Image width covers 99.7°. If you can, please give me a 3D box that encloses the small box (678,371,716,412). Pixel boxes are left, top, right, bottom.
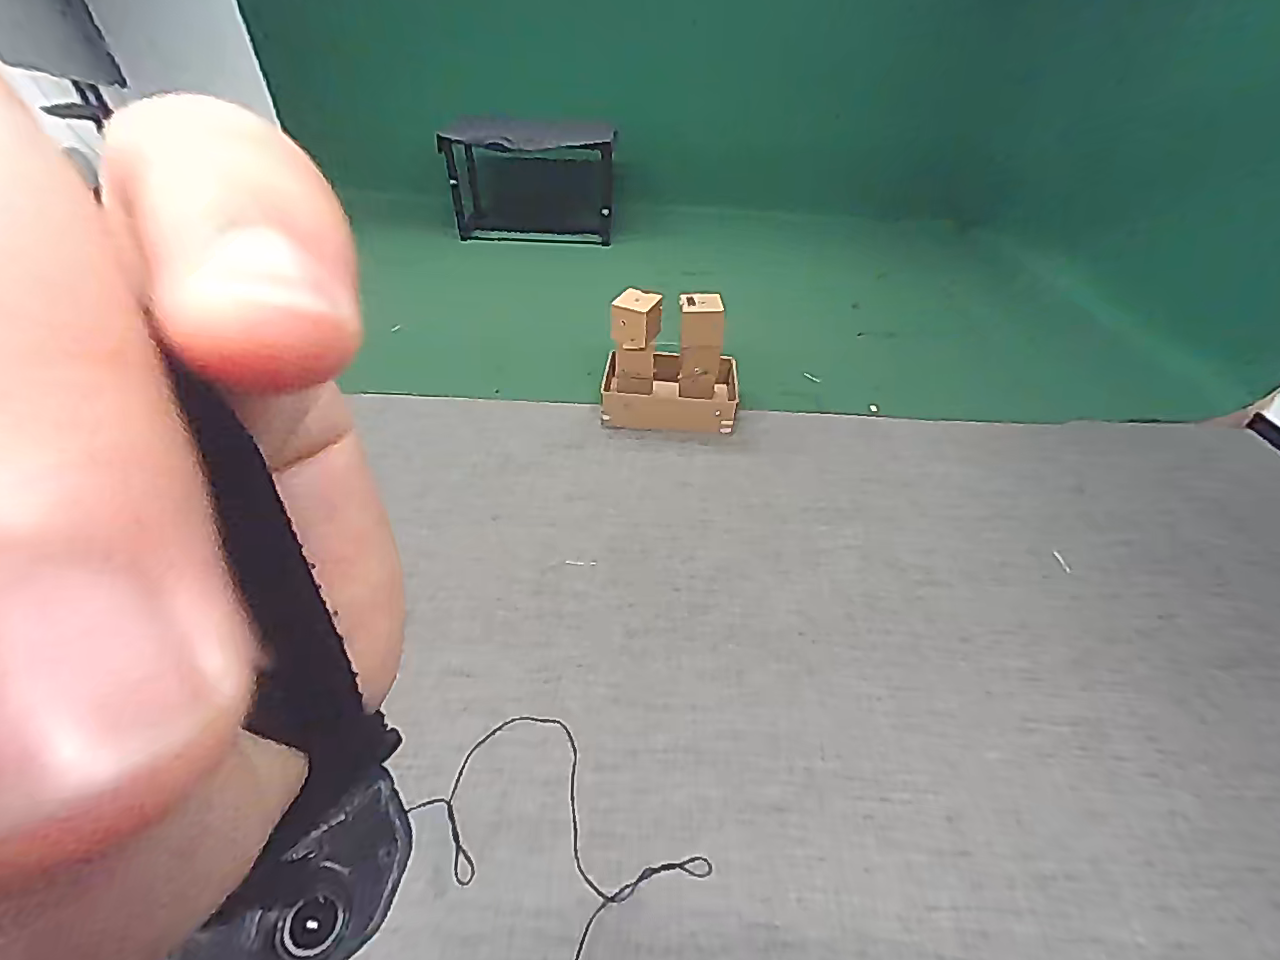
[{"bbox_3d":[0.272,-0.446,2.576,0.168,0.176,0.179,6,43,5],"label":"small box"}]

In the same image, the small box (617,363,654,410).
[{"bbox_3d":[-0.020,-0.454,2.566,0.168,0.176,0.179,3,42,0],"label":"small box"}]

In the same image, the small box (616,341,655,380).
[{"bbox_3d":[-0.020,-0.569,2.448,0.168,0.176,0.179,4,42,0],"label":"small box"}]

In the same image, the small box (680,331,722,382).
[{"bbox_3d":[0.274,-0.565,2.465,0.168,0.176,0.179,-2,44,-1],"label":"small box"}]

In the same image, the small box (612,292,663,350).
[{"bbox_3d":[-0.011,-0.684,2.333,0.168,0.176,0.179,19,44,17],"label":"small box"}]
